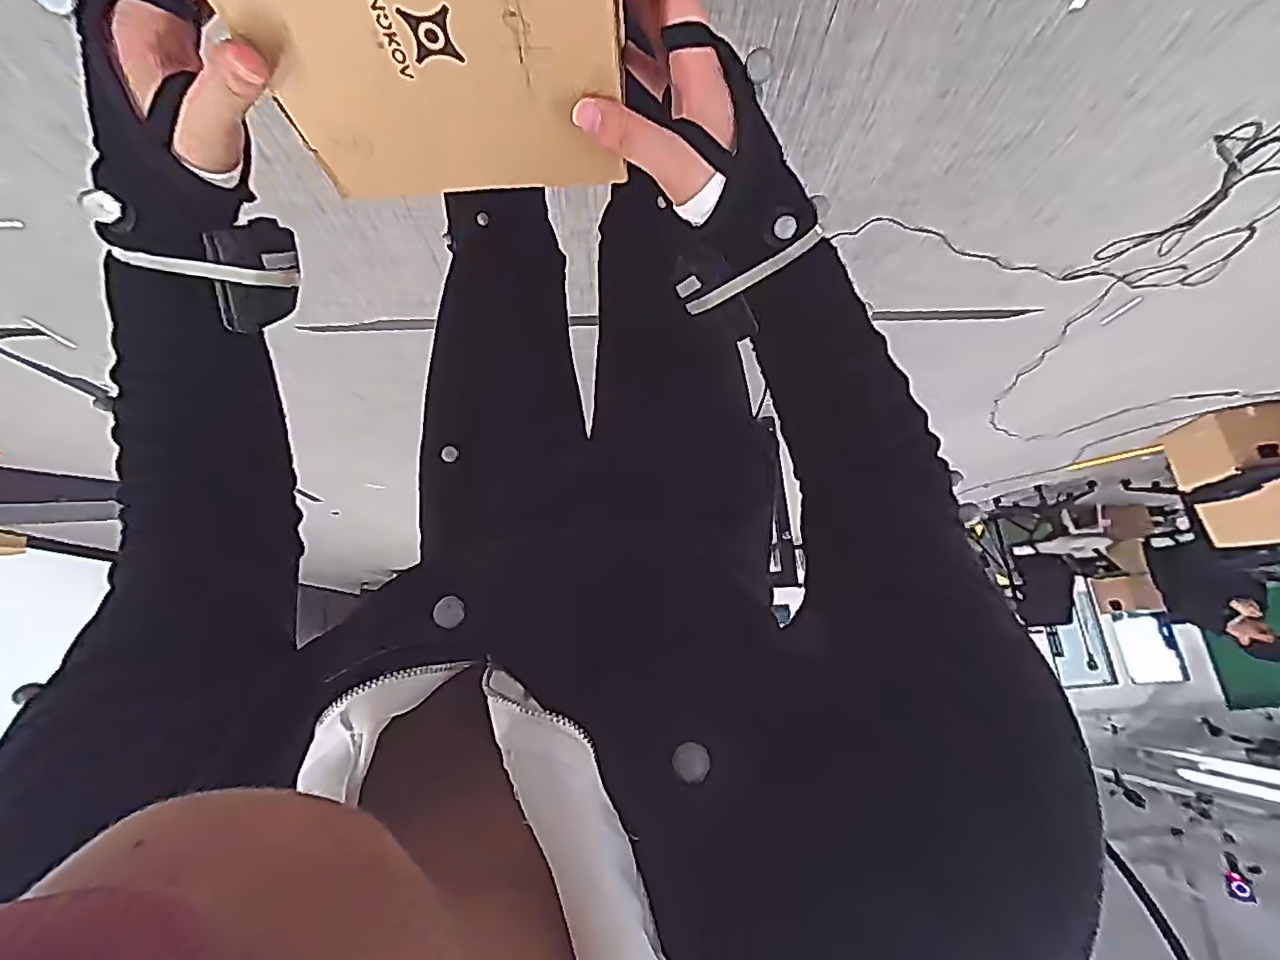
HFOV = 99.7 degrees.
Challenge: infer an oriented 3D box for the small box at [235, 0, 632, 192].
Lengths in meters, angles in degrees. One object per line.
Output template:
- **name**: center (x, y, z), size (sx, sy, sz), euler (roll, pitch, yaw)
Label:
- **small box**: center (-0.095, -0.284, 0.282), size (0.179, 0.176, 0.168), euler (-3, 161, 2)
